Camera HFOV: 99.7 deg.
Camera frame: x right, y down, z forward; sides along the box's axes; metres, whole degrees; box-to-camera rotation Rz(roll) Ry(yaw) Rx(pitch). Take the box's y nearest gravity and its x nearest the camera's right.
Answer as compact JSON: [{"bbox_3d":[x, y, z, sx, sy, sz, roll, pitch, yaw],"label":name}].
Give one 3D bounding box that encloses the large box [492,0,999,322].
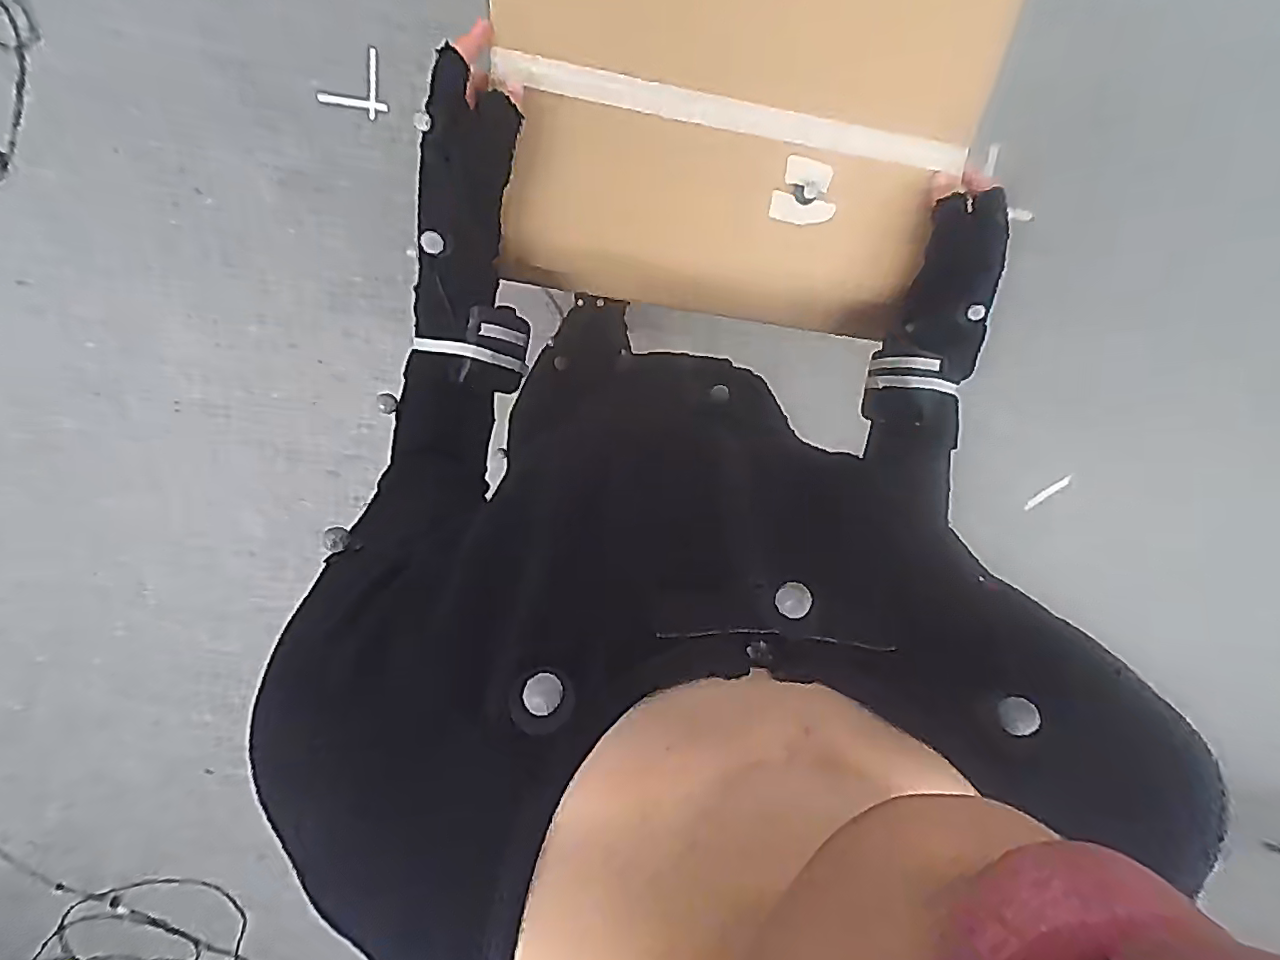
[{"bbox_3d":[0.067,-0.371,0.587,0.408,0.320,0.320,6,114,-8],"label":"large box"}]
